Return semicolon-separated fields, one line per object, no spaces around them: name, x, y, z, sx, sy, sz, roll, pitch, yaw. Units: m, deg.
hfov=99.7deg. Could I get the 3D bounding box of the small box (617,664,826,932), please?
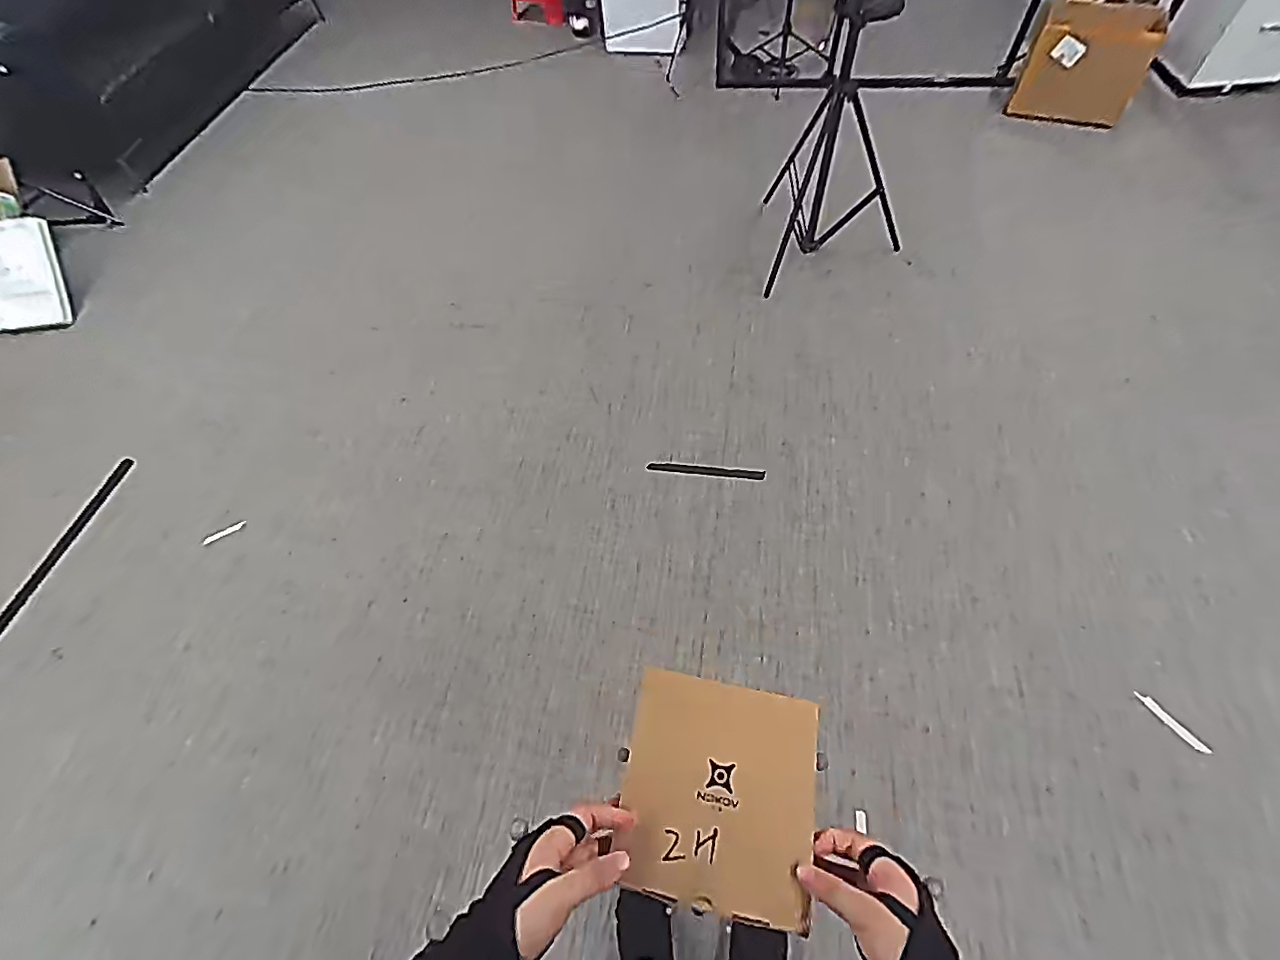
small box;0.080;0.303;0.535;0.168;0.176;0.179;8;60;9
